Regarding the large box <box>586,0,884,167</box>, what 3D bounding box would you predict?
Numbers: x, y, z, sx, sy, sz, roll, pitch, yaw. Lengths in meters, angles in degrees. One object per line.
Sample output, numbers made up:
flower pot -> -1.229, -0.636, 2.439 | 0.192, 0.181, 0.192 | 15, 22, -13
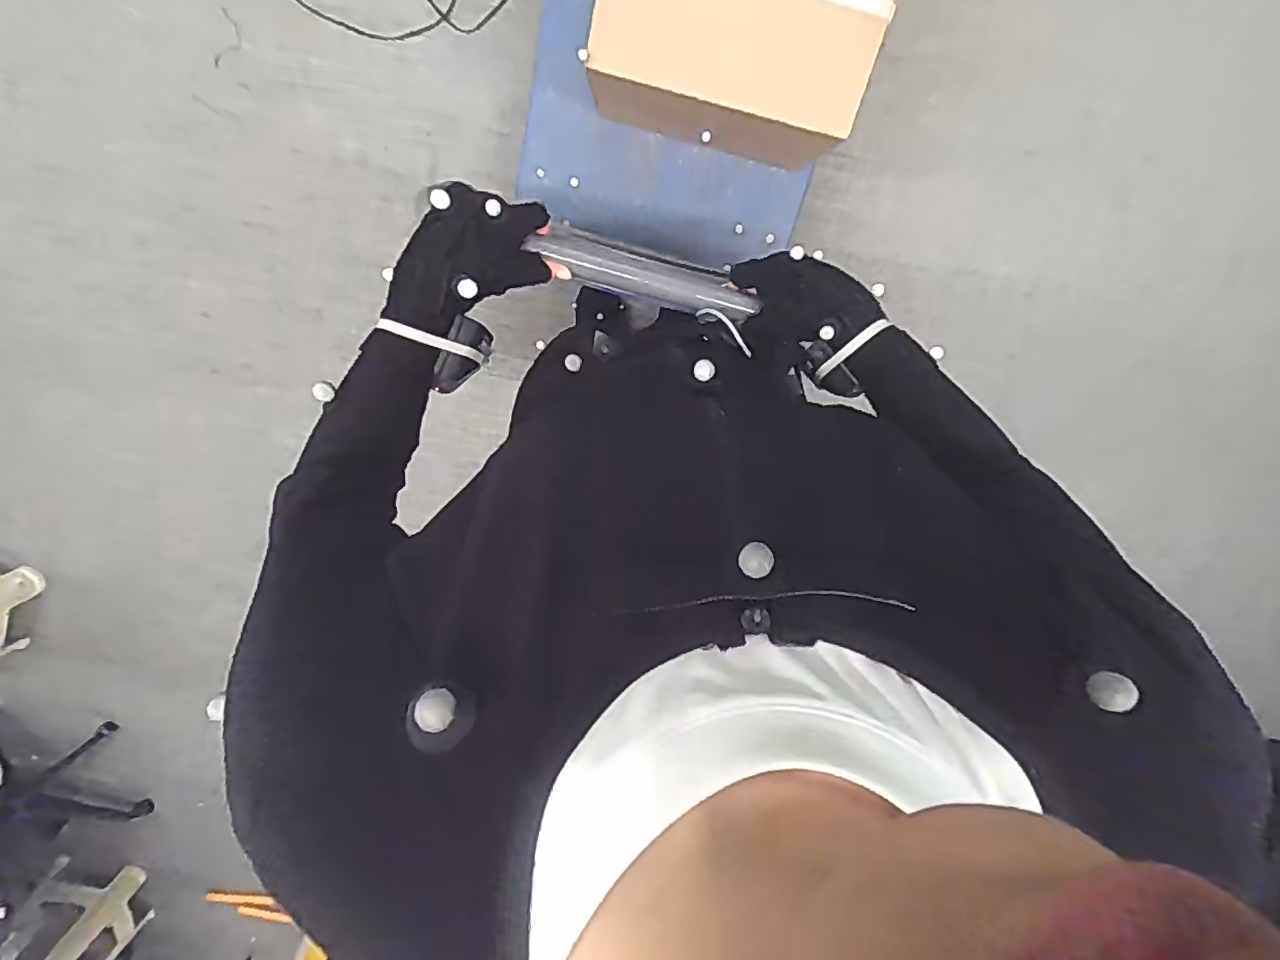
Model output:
large box -> 0.151, -0.750, 0.891 | 0.408, 0.320, 0.320 | 13, 111, -3
